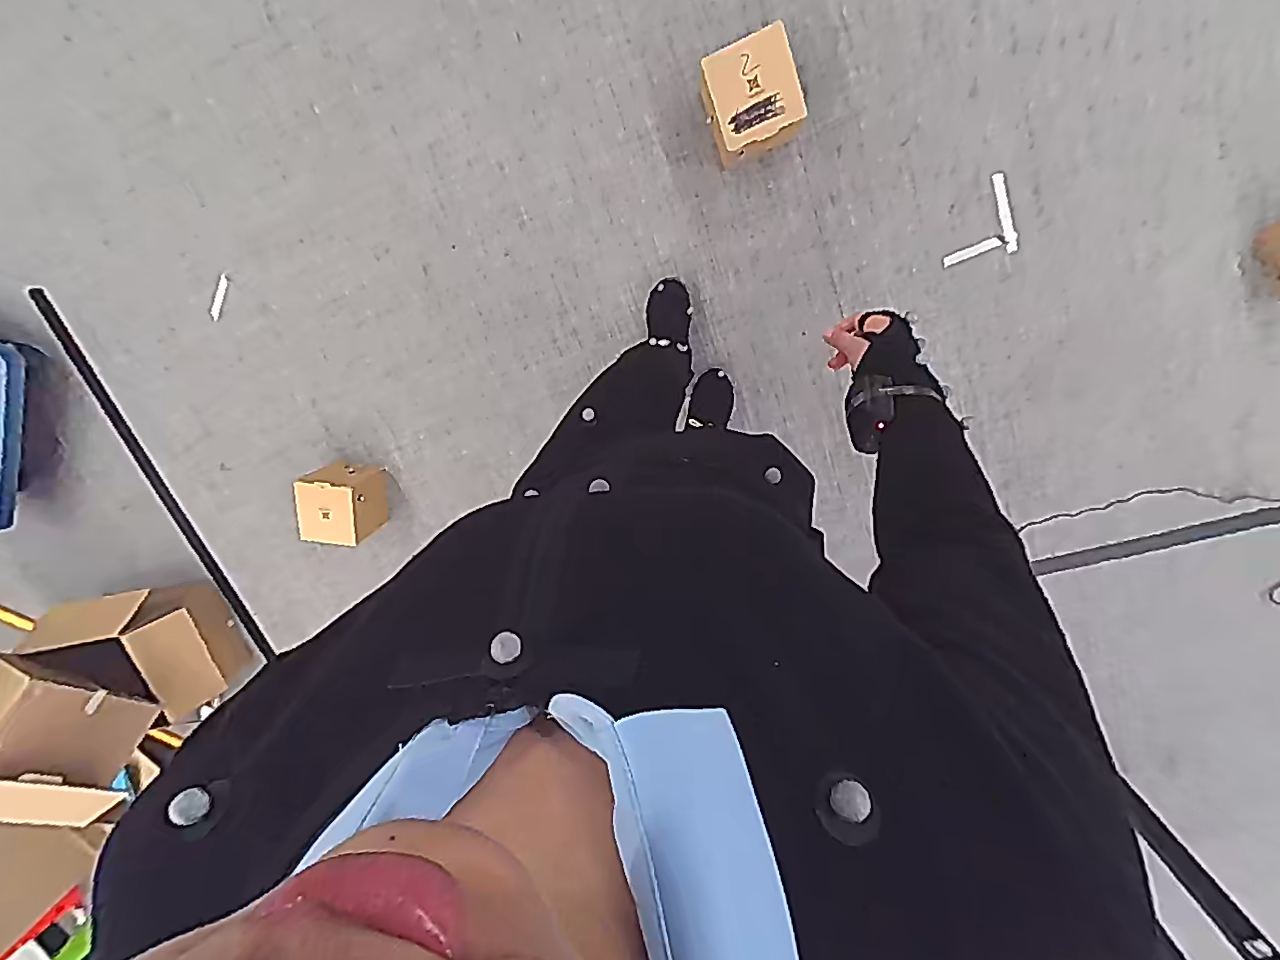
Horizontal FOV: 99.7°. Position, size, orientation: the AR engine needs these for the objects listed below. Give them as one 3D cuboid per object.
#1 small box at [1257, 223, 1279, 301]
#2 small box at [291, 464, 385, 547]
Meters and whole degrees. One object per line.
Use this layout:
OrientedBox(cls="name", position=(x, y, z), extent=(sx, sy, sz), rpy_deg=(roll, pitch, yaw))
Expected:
OrientedBox(cls="small box", position=(1.440, -0.480, 1.103), extent=(0.179, 0.176, 0.168), rpy_deg=(-34, 102, 15))
OrientedBox(cls="small box", position=(-0.844, 0.068, 1.530), extent=(0.168, 0.176, 0.179), rpy_deg=(7, 109, 4))
